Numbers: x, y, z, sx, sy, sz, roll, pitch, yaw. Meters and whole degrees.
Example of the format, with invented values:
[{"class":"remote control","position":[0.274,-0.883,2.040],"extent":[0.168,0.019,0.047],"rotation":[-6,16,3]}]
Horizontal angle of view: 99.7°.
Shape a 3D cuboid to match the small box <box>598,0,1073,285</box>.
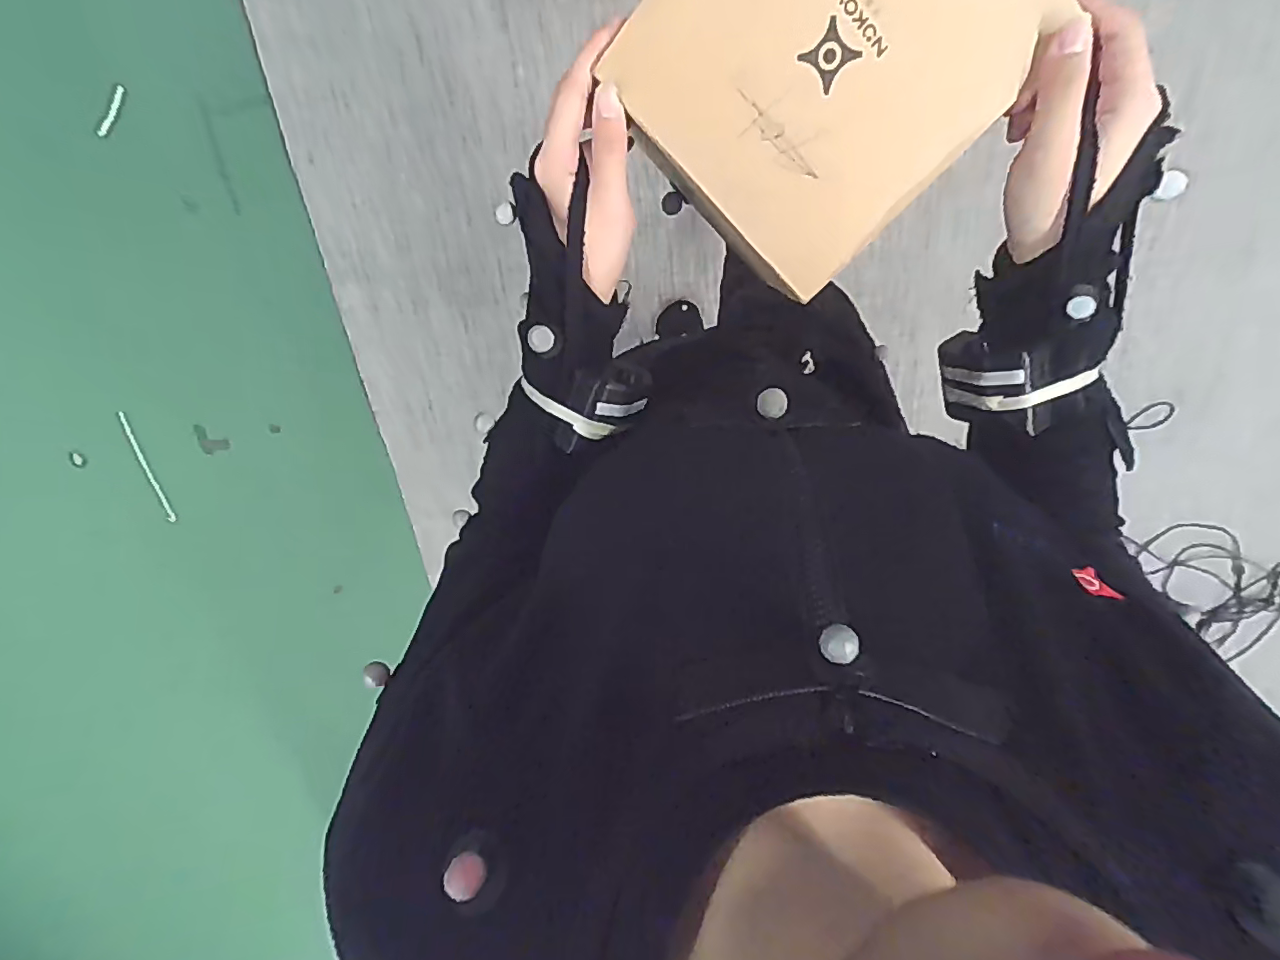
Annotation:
[{"class":"small box","position":[0.095,-0.254,0.338],"extent":[0.168,0.176,0.179],"rotation":[41,111,-15]}]
